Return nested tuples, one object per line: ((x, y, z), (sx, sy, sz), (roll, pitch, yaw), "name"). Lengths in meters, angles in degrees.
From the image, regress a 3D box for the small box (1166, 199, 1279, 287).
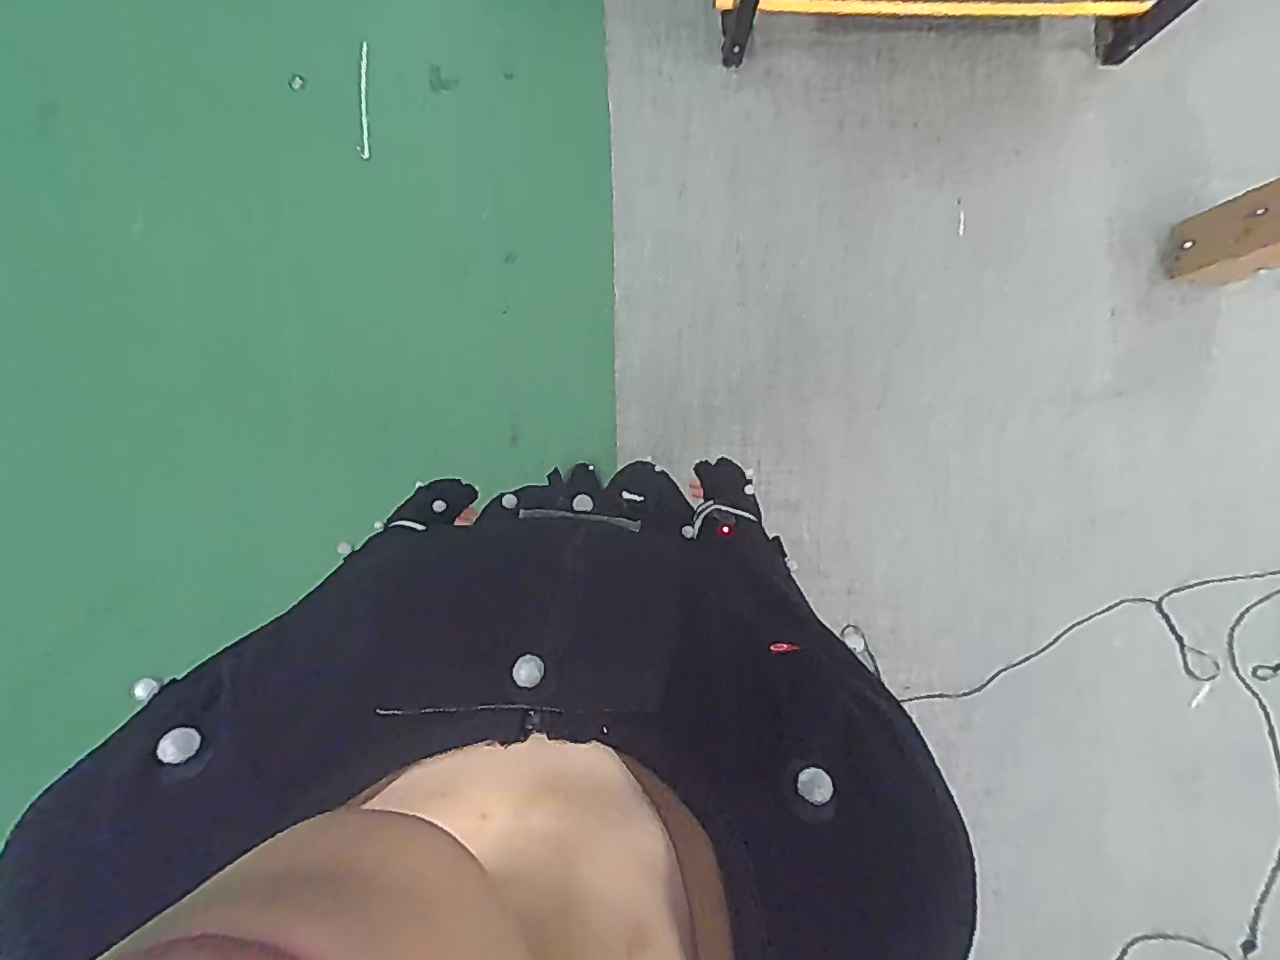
((1.629, -0.647, 1.497), (0.179, 0.176, 0.168), (4, 89, -3), "small box")
